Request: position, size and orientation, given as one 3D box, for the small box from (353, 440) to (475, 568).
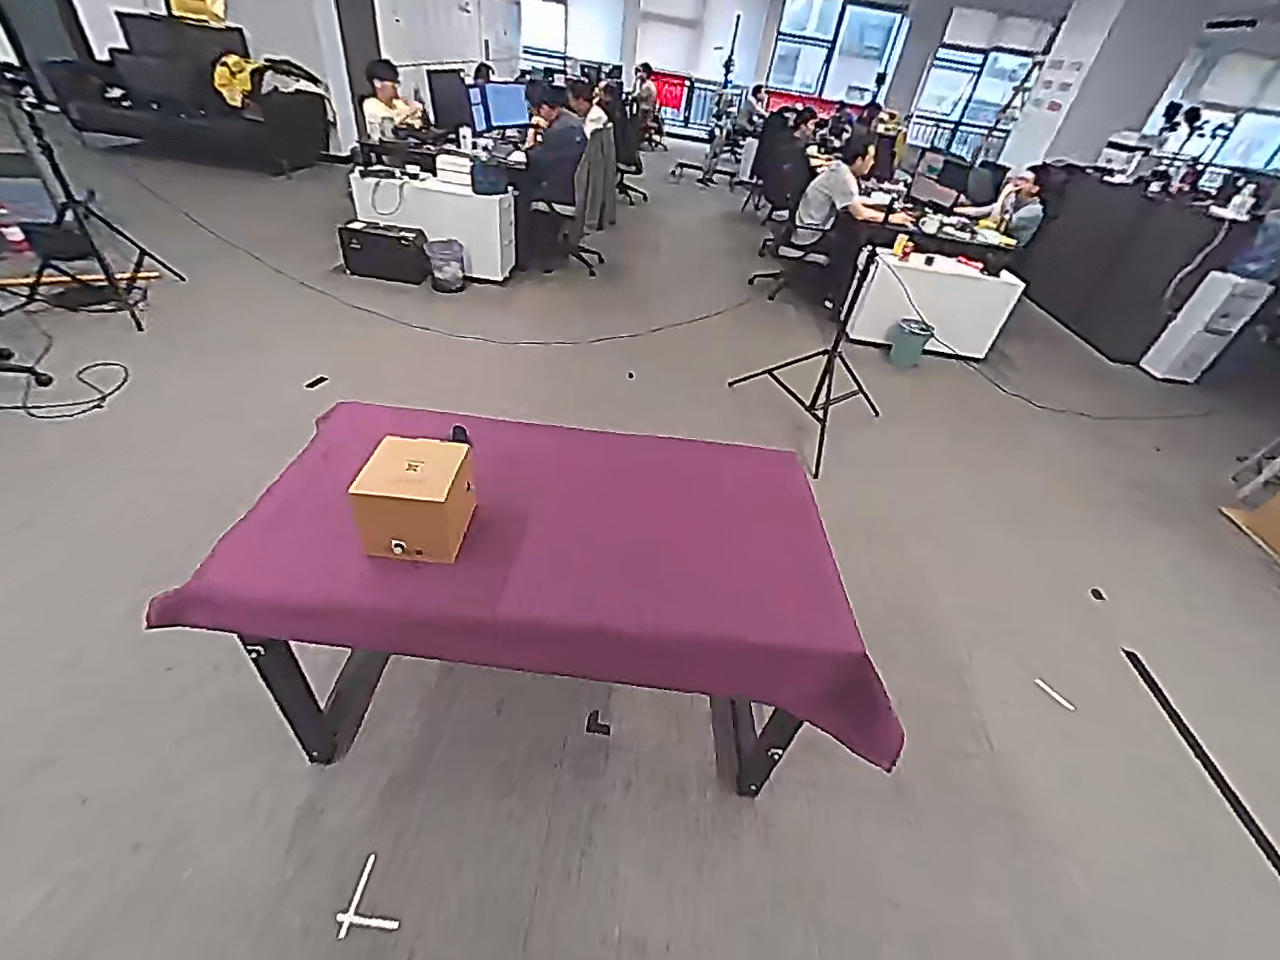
[{"bbox_3d":[-0.424,0.046,1.050,0.168,0.176,0.179,5,39,-3],"label":"small box"}]
